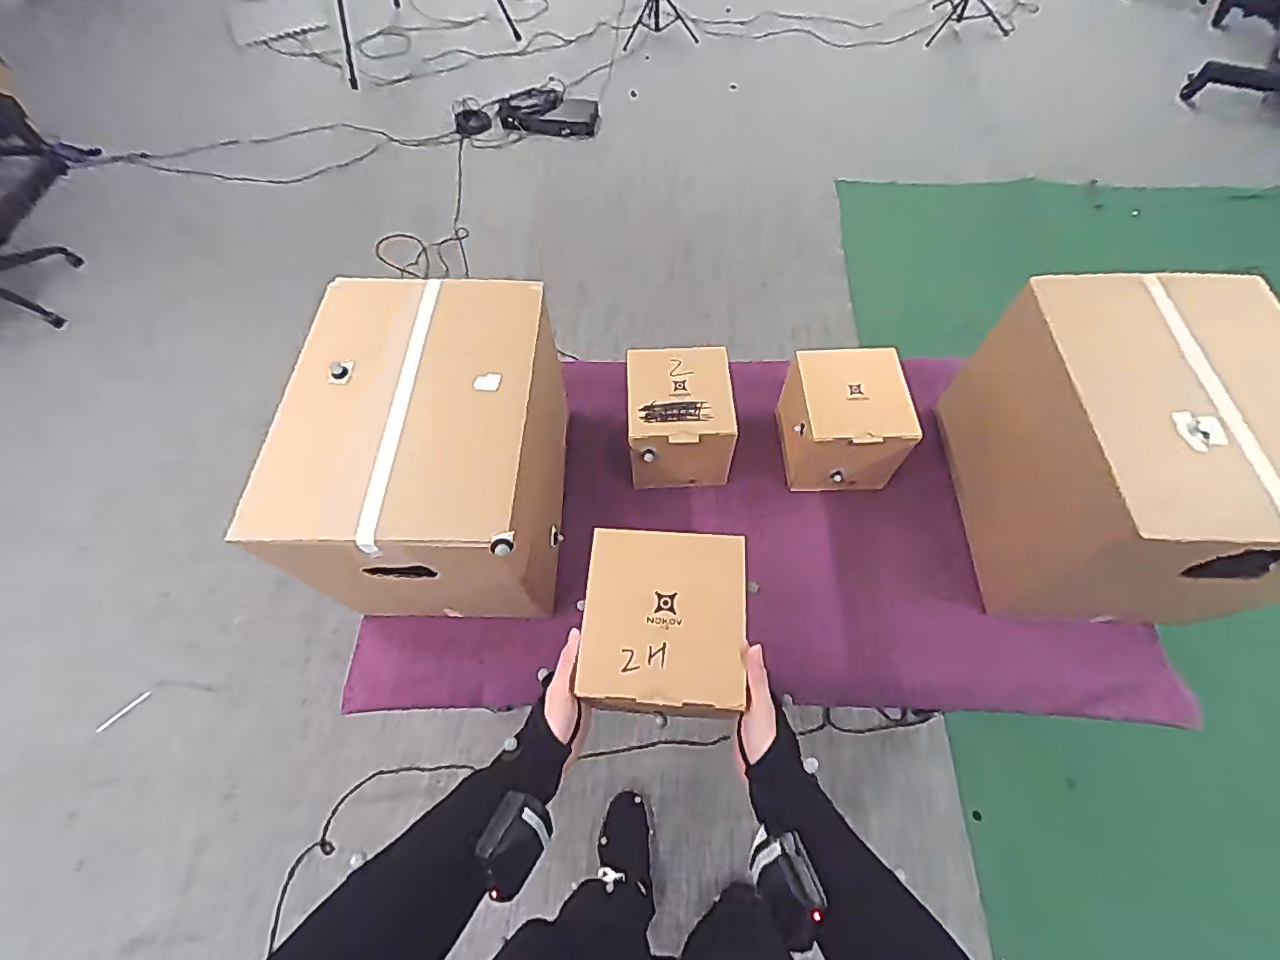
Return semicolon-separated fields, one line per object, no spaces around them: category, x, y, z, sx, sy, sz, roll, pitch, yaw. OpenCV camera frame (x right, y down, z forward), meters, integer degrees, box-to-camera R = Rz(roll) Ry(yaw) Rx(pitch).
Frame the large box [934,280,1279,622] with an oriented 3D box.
large box;0.693;-0.031;0.790;0.320;0.320;0.408;1;62;3

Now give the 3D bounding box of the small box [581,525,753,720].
small box;0.036;0.167;0.617;0.168;0.176;0.179;3;63;5
